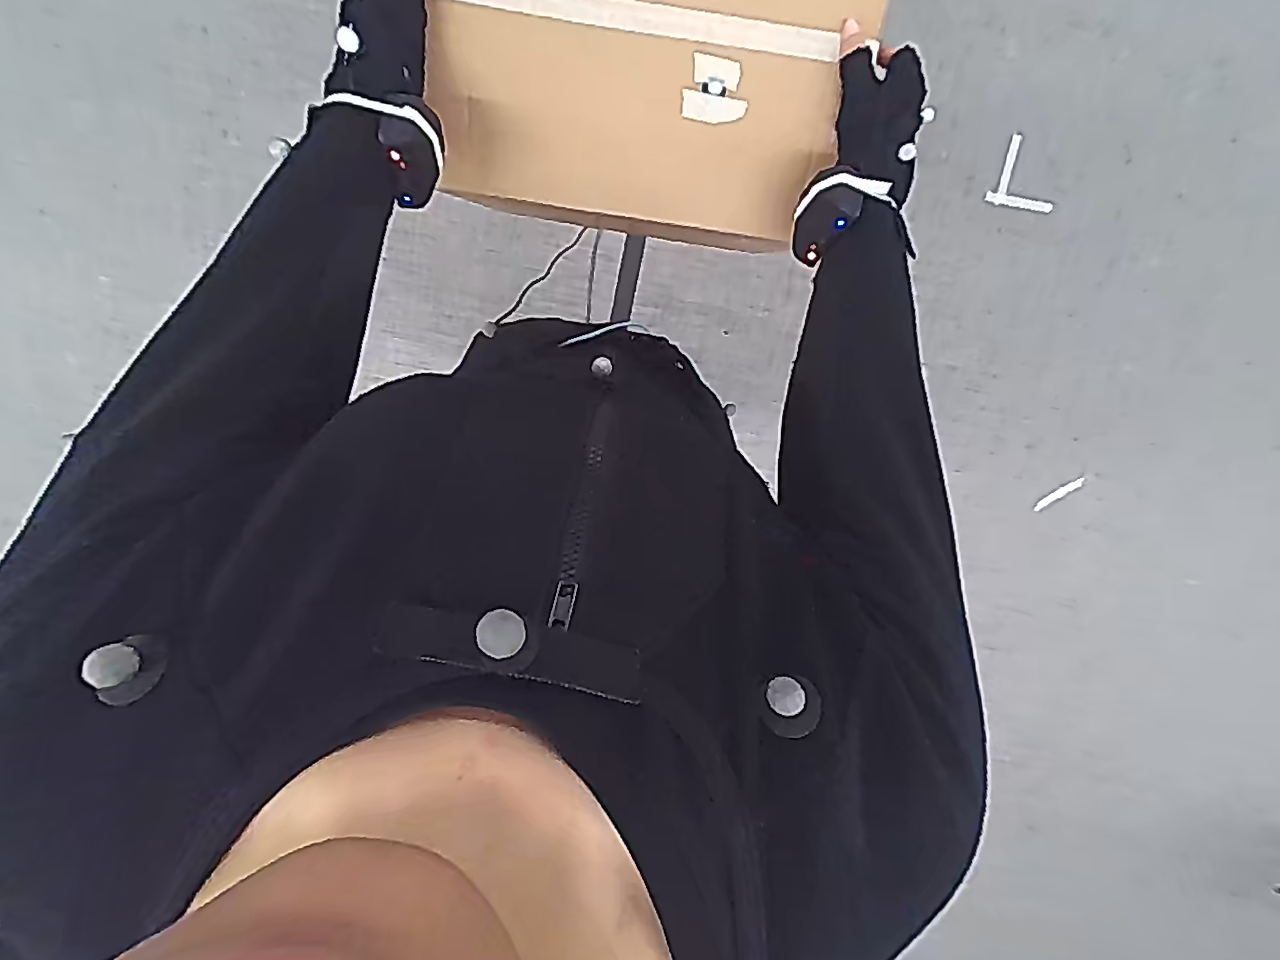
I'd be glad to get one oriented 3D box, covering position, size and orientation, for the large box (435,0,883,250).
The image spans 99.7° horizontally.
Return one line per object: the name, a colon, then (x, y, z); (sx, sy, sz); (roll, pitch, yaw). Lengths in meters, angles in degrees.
large box: (0.011, -0.460, 0.628); (0.408, 0.320, 0.320); (7, 112, -3)
